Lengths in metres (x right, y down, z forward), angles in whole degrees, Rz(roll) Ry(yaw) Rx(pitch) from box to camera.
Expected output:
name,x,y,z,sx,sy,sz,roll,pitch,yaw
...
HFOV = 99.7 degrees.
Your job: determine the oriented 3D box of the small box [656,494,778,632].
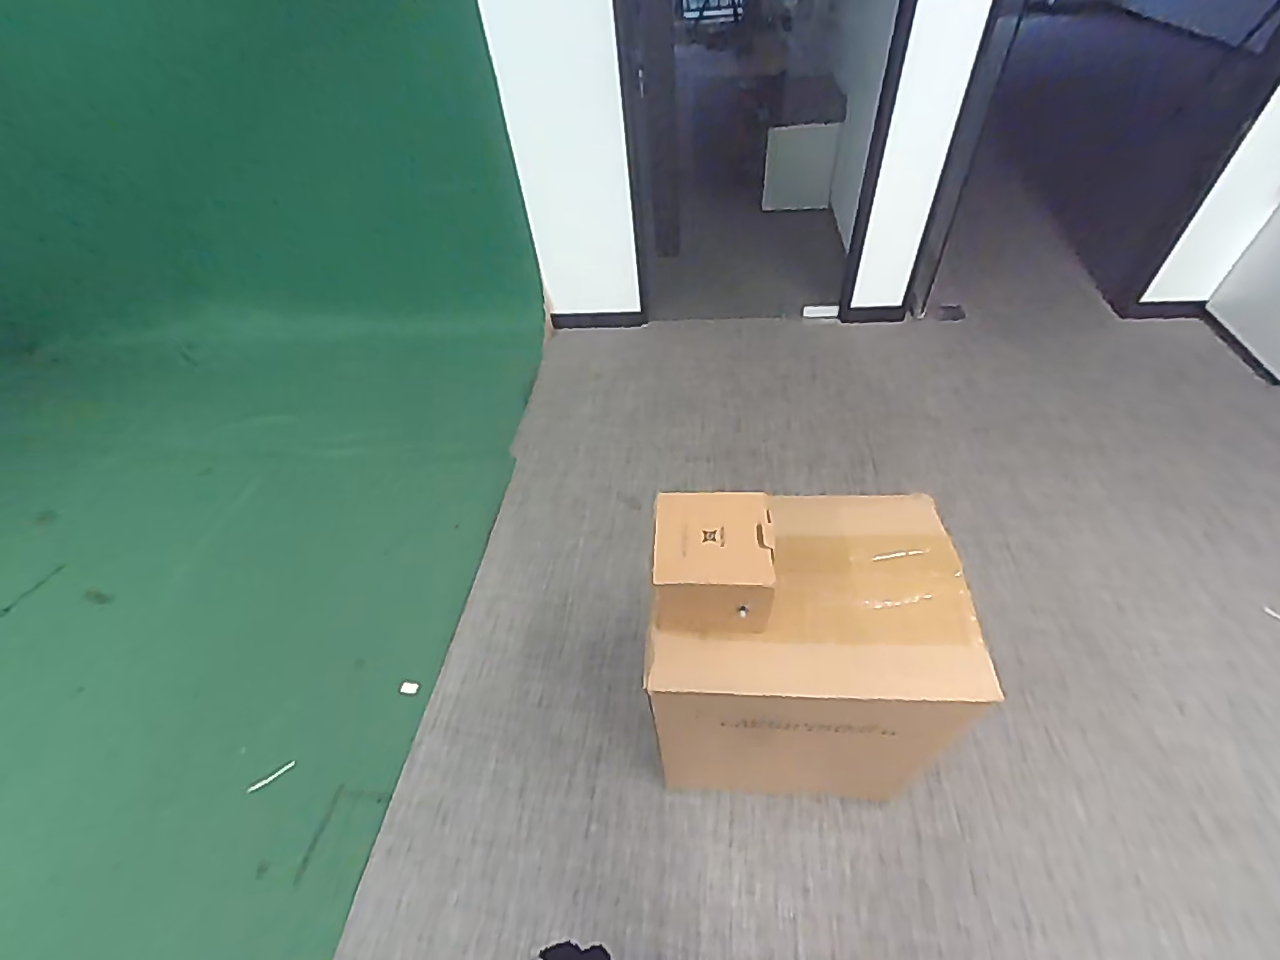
name,x,y,z,sx,sy,sz,roll,pitch,yaw
small box,0.121,0.137,0.881,0.179,0.176,0.168,-2,51,6
